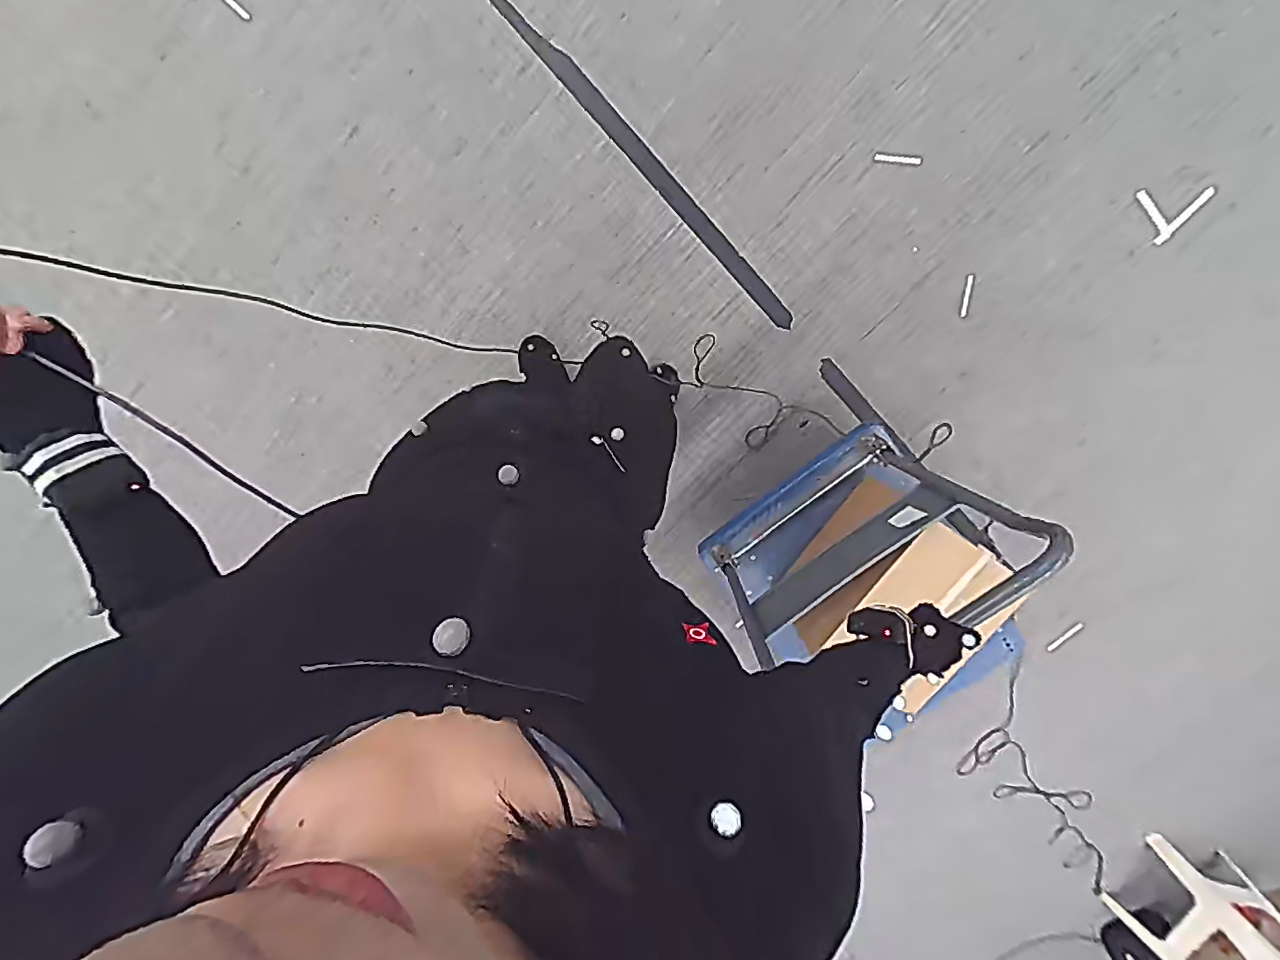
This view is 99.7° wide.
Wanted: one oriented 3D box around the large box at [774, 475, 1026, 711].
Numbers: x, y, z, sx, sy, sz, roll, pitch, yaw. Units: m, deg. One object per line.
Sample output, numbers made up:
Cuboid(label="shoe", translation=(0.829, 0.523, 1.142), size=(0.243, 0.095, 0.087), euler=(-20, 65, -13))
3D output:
Cuboid(label="large box", translation=(0.604, 0.260, 1.328), size=(0.320, 0.320, 0.408), euler=(32, 104, -12))
